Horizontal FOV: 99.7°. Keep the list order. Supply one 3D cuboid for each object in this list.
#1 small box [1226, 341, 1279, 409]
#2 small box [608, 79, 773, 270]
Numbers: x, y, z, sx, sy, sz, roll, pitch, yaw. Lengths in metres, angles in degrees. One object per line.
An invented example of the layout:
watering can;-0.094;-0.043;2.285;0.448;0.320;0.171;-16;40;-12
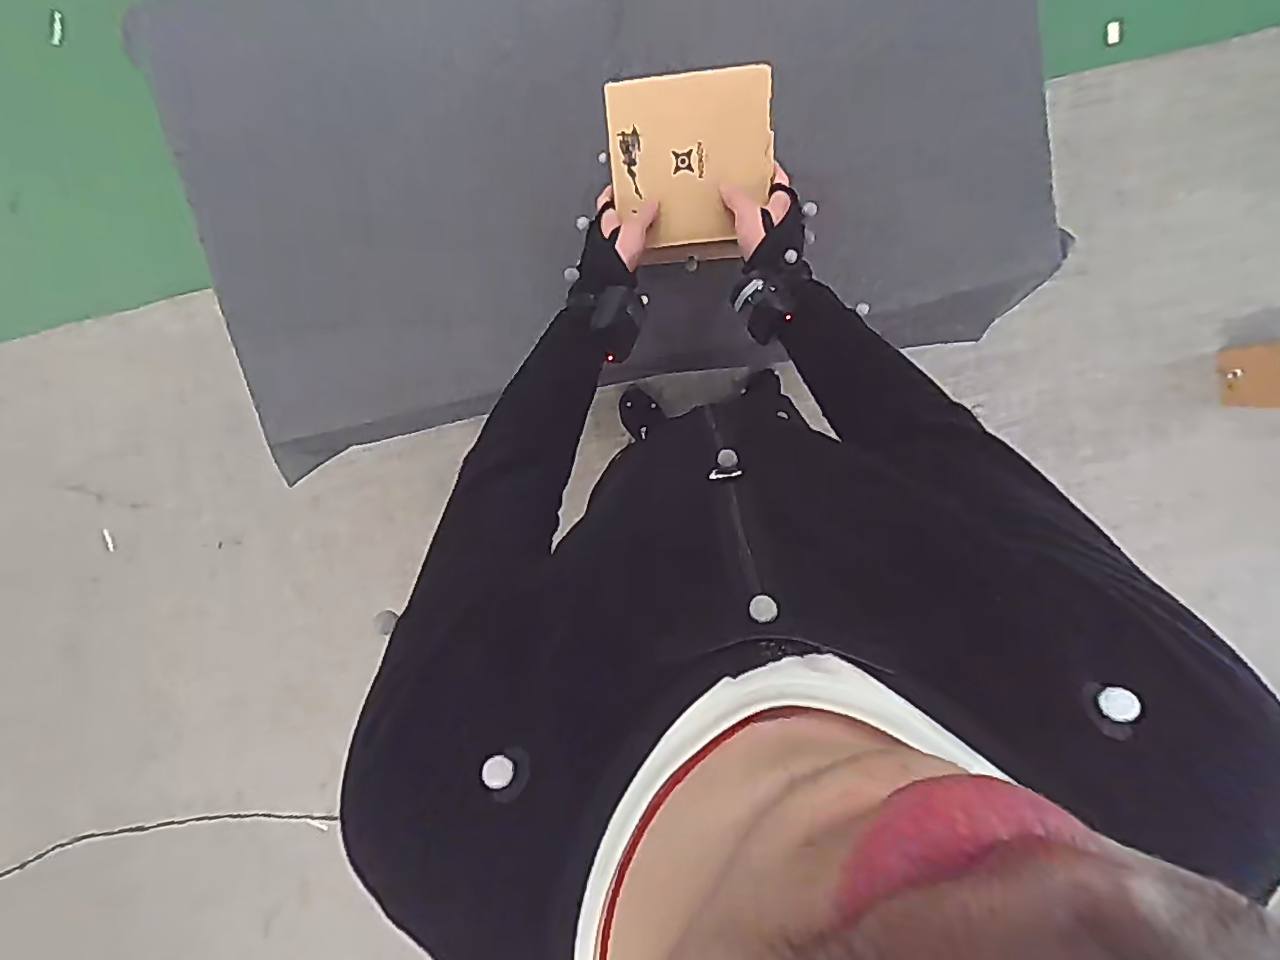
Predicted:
small box;1.721;-0.283;1.424;0.179;0.176;0.168;-10;97;2
small box;0.059;-0.359;0.665;0.179;0.176;0.168;-4;105;3
